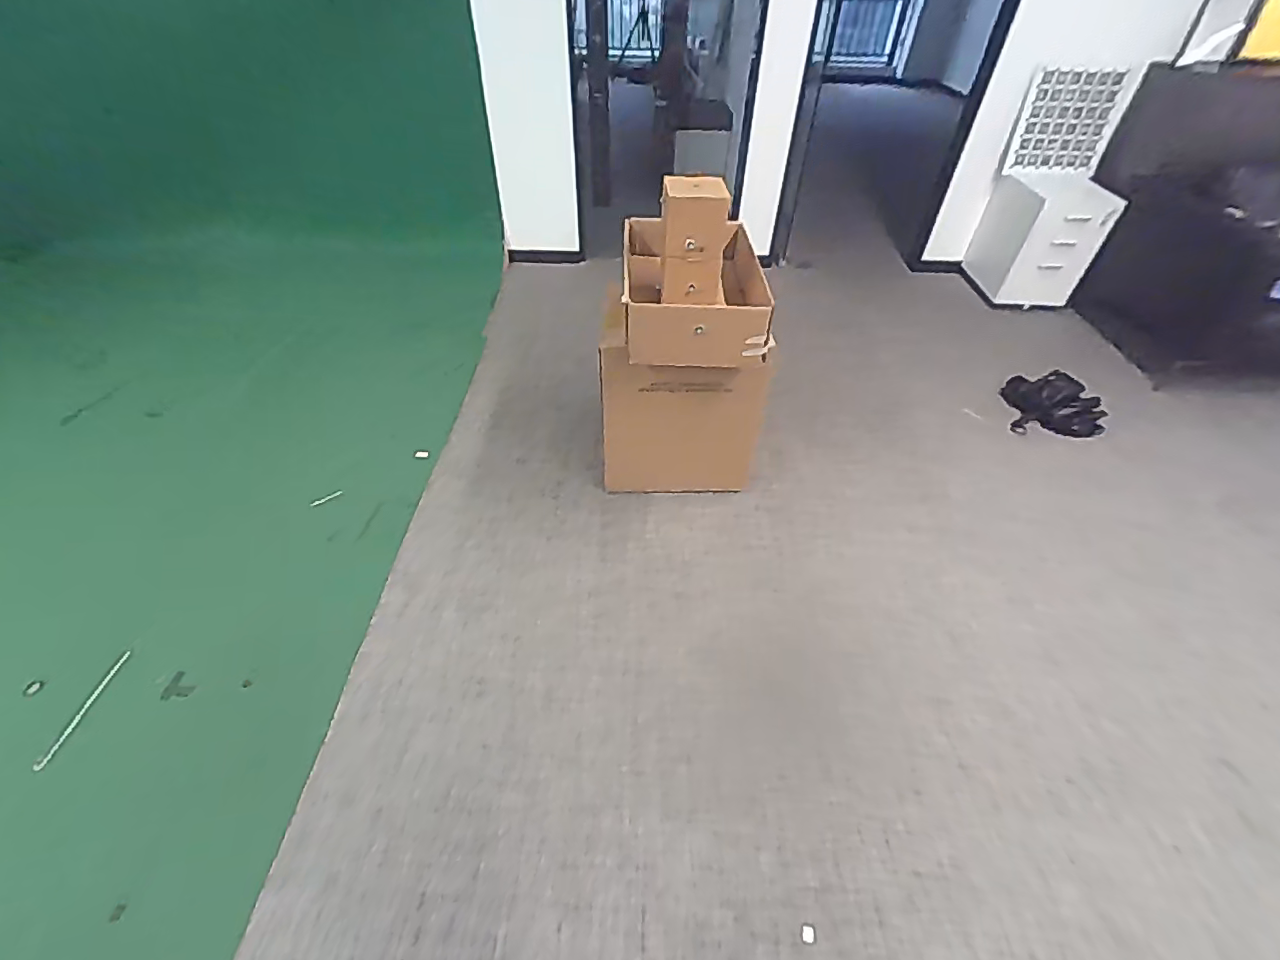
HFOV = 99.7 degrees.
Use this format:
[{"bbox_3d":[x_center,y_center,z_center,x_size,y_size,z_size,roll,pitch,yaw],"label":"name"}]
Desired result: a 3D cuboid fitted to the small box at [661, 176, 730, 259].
[{"bbox_3d":[0.151,-0.747,1.539,0.168,0.176,0.179,-1,46,-3],"label":"small box"}]
